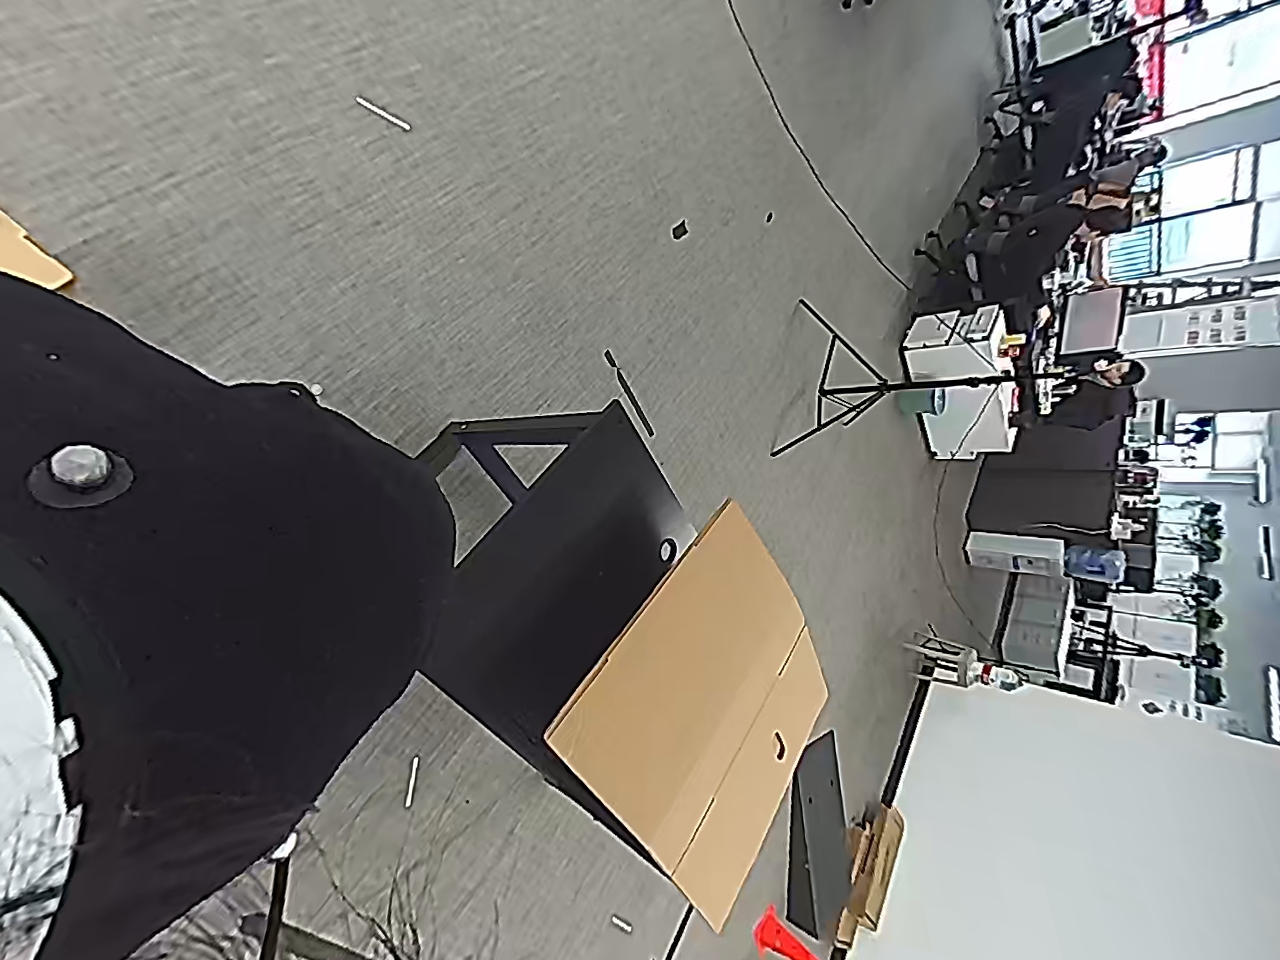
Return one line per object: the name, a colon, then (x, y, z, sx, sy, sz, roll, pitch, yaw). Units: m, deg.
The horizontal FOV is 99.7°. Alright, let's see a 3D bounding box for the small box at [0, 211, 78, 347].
small box: (-0.897, -0.269, 0.699, 0.168, 0.176, 0.179, 52, 57, -33)
